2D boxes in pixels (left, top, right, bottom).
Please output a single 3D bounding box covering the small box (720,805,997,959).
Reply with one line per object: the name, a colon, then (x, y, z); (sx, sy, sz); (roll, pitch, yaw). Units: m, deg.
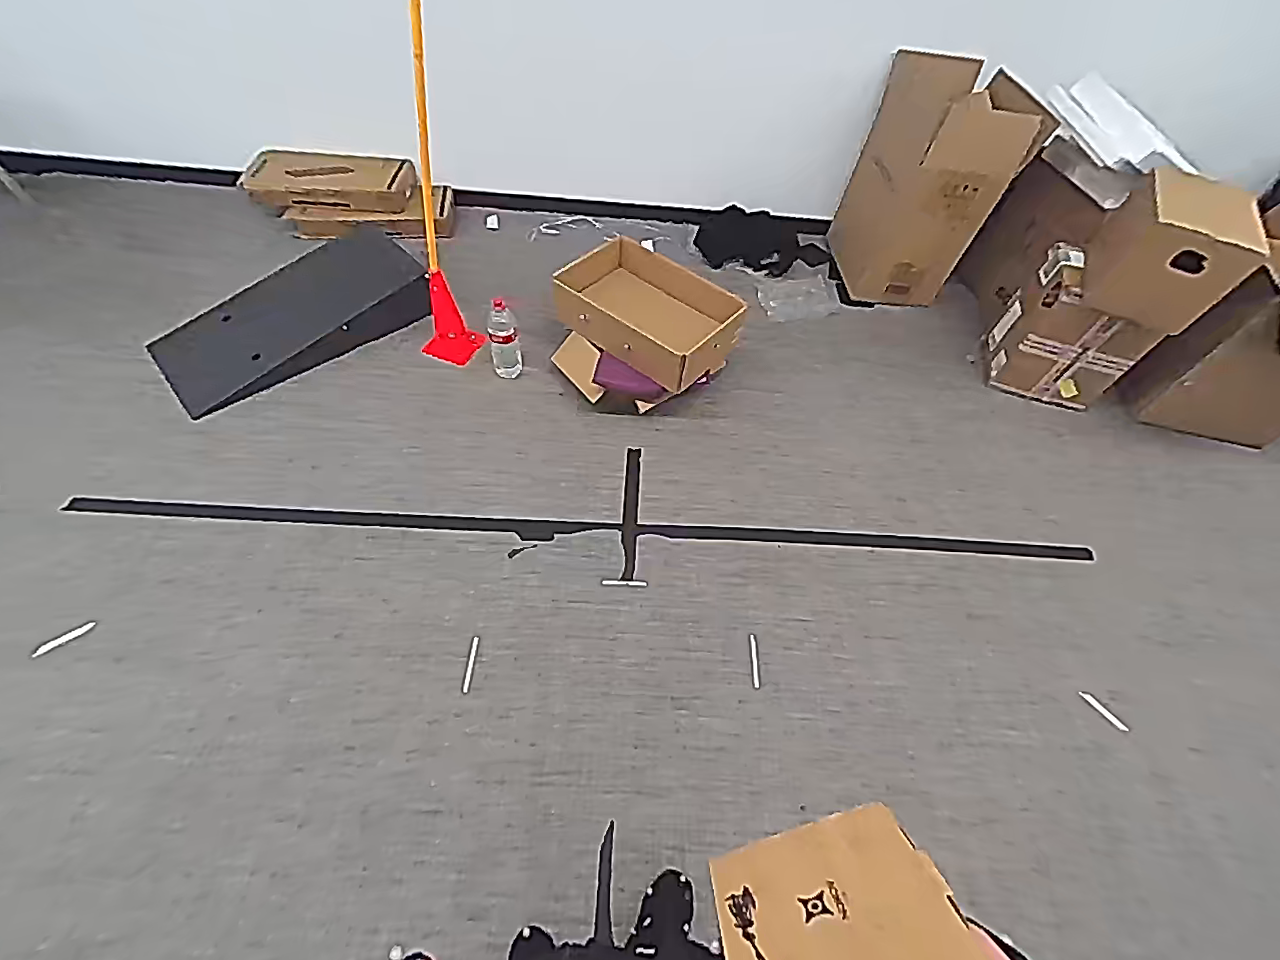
small box: (0.182, 0.419, 0.443); (0.179, 0.168, 0.176); (-18, 93, 1)
